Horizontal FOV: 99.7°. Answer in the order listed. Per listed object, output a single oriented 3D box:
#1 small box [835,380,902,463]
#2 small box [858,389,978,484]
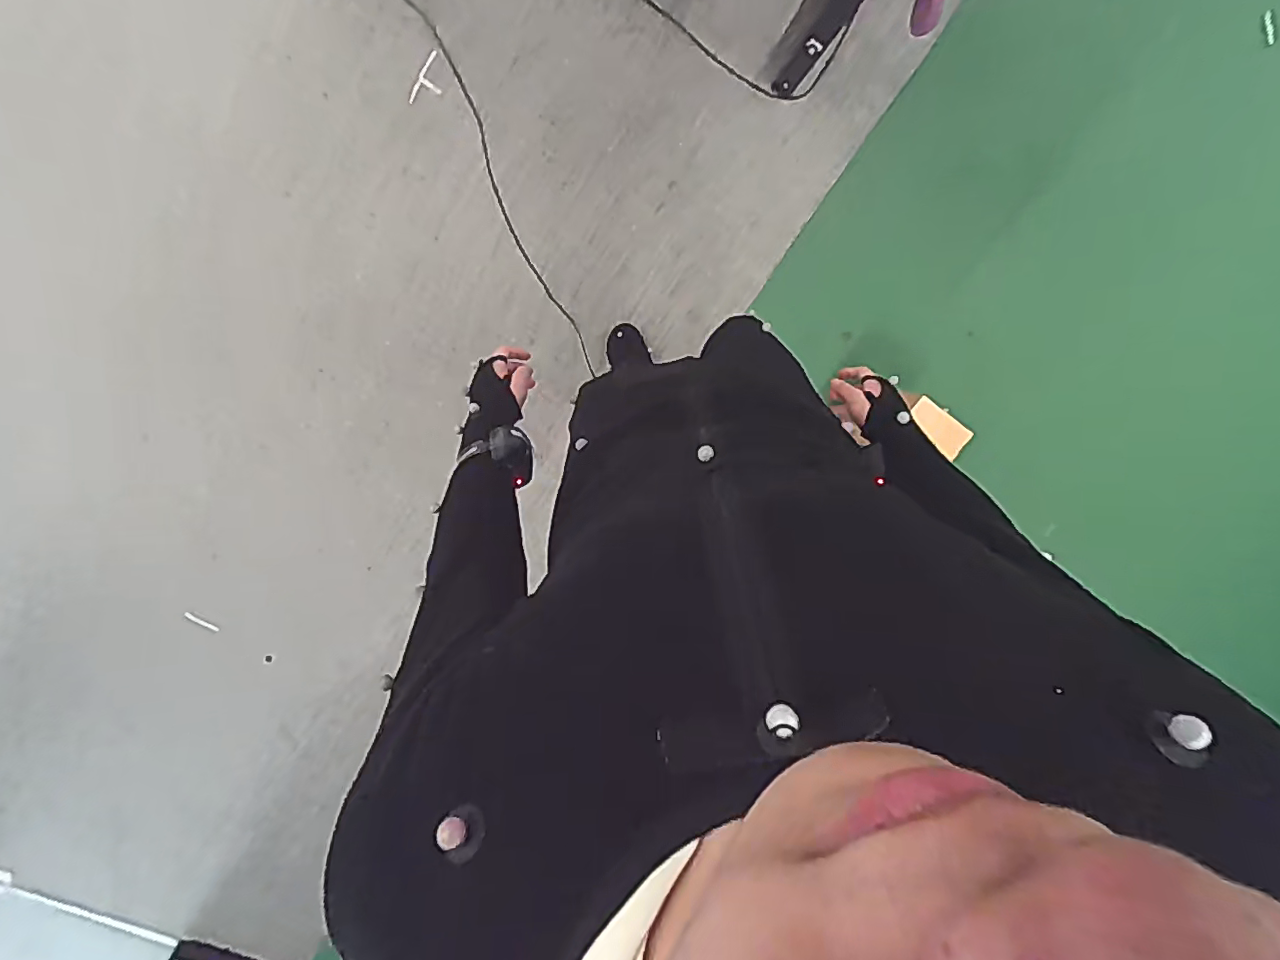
[{"bbox_3d":[0.695,-0.170,1.538,0.179,0.176,0.168,33,103,-10],"label":"small box"},{"bbox_3d":[0.700,-0.119,1.384,0.179,0.176,0.168,32,103,-12],"label":"small box"}]
